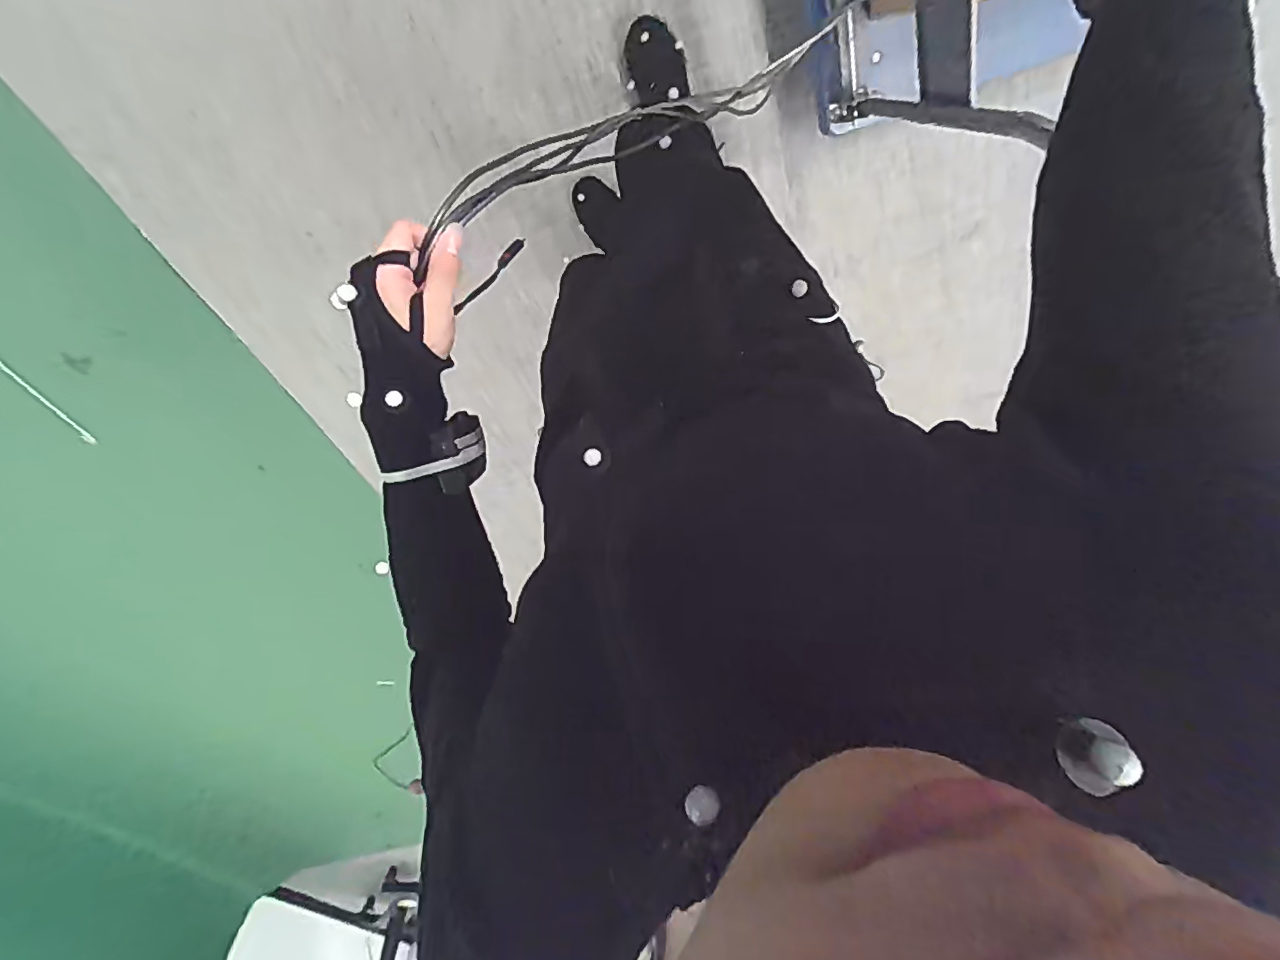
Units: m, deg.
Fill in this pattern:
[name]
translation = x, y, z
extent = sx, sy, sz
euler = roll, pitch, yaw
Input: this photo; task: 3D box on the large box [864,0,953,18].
[large box]
translation = 0.564, -0.935, 0.770
extent = 0.408, 0.320, 0.320
euler = -16, 127, 7
